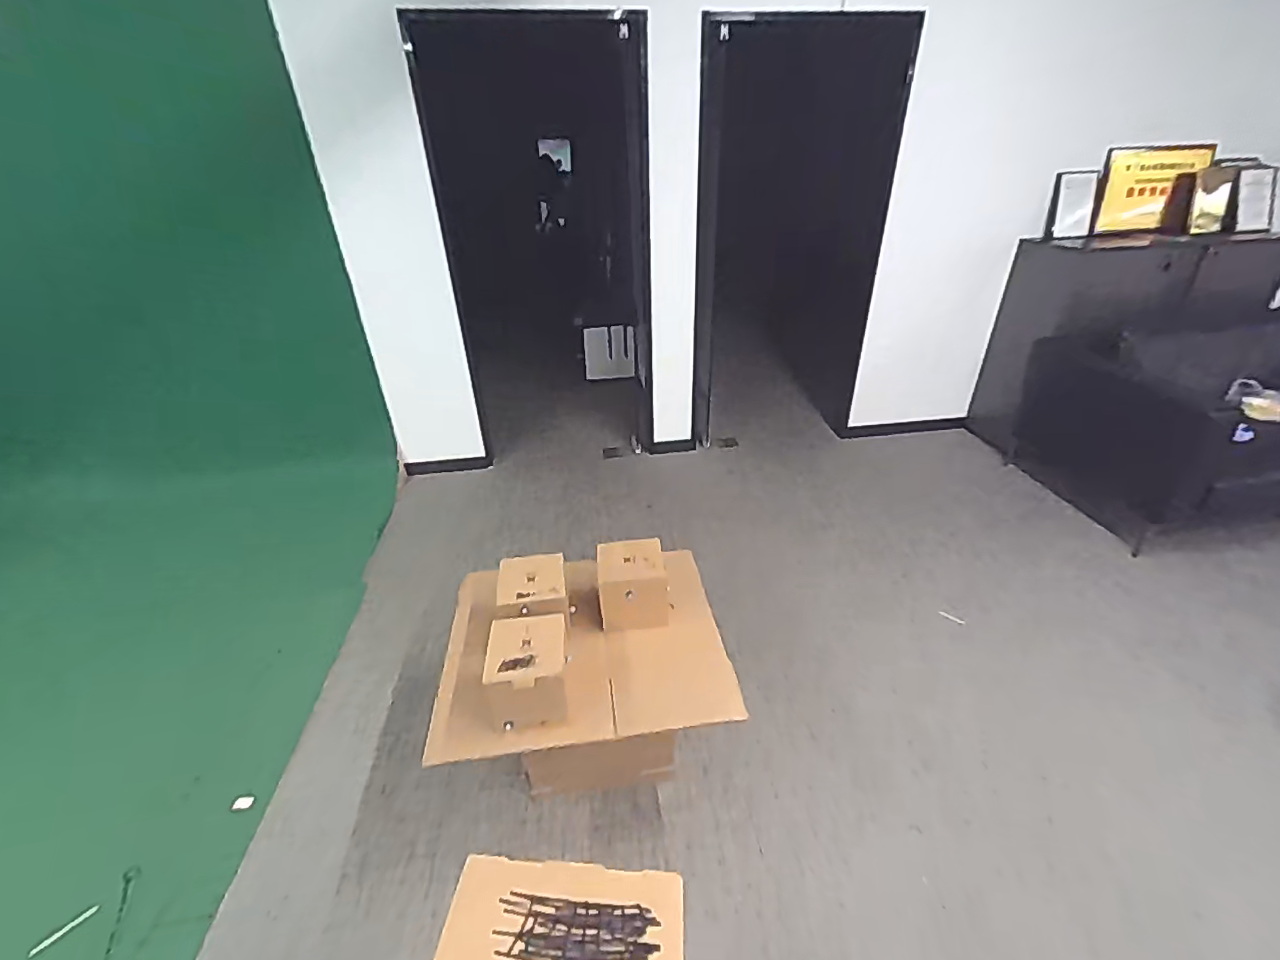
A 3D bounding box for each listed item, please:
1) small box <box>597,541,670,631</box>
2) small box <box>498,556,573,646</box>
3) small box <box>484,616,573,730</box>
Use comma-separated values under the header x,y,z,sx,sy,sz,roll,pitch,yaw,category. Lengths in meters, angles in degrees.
x,y,z,sx,sy,sz,roll,pitch,yaw,category
-0.017,0.284,1.440,0.179,0.176,0.168,-5,31,-2,small box
-0.263,0.321,1.392,0.168,0.176,0.179,-6,30,-6,small box
-0.238,0.432,1.201,0.168,0.176,0.179,-5,30,-4,small box
